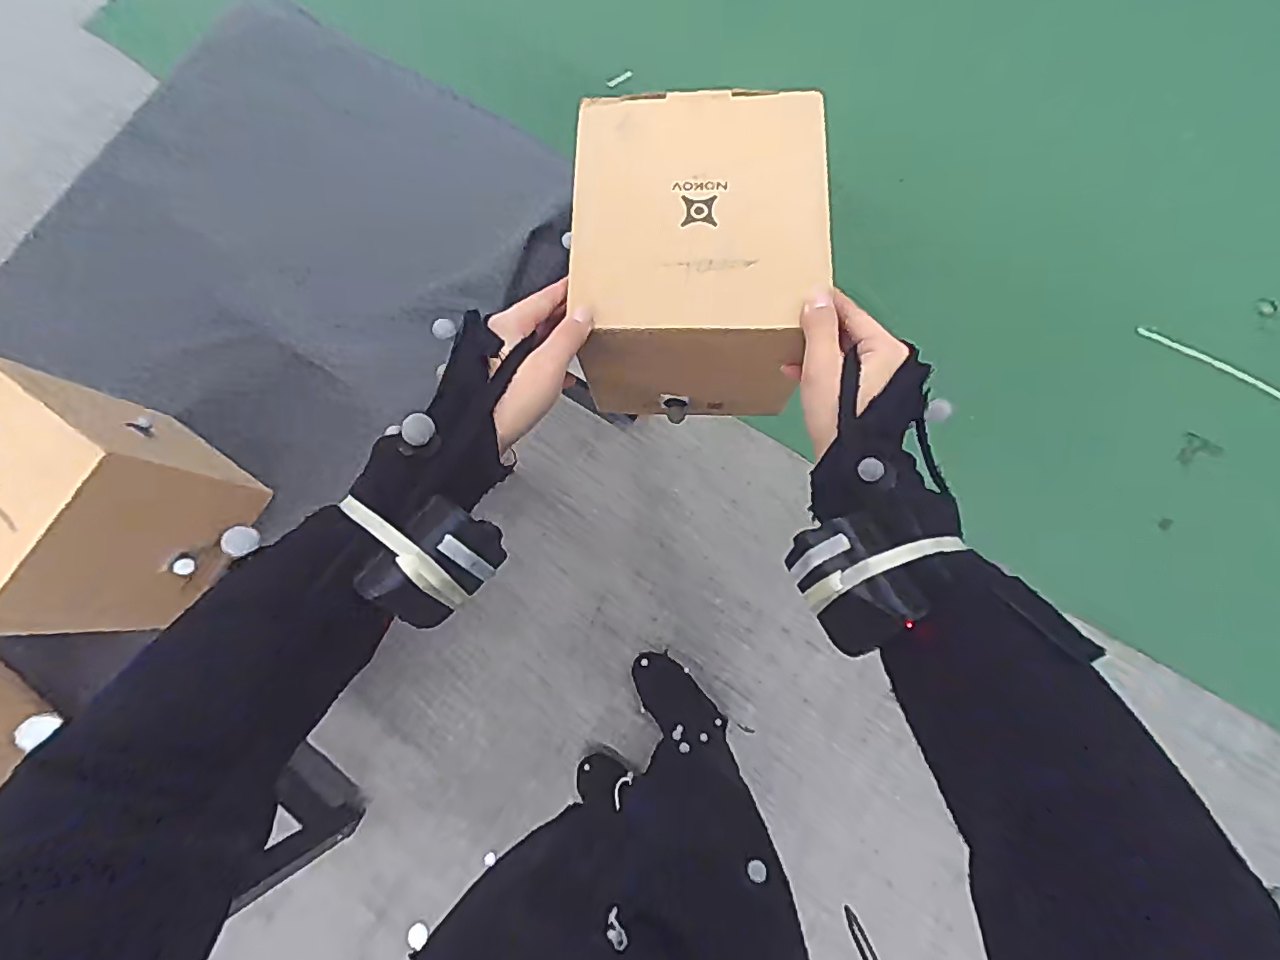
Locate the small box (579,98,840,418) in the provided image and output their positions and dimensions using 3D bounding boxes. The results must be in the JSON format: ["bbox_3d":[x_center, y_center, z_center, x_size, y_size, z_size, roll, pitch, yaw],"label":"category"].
[{"bbox_3d":[0.049,-0.160,0.432,0.168,0.176,0.179,0,79,4],"label":"small box"}]

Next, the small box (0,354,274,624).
[{"bbox_3d":[-0.504,0.020,0.502,0.179,0.176,0.168,31,83,12],"label":"small box"}]
